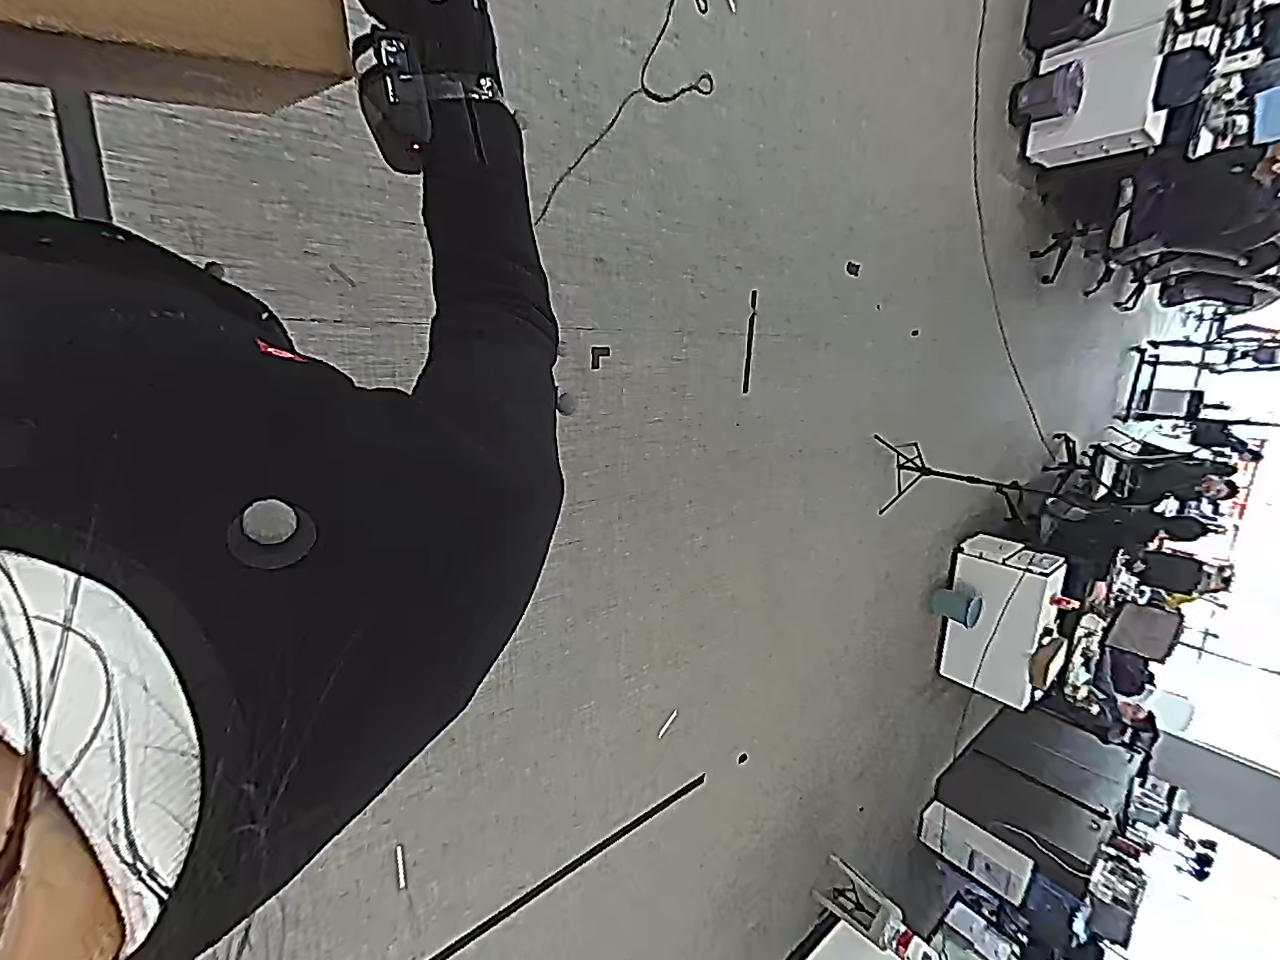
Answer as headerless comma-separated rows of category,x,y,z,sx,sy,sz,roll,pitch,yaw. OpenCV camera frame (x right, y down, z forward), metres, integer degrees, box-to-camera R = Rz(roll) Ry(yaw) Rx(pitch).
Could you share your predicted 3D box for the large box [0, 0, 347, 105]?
large box,-0.429,-0.400,0.263,0.408,0.320,0.320,-19,126,-36
